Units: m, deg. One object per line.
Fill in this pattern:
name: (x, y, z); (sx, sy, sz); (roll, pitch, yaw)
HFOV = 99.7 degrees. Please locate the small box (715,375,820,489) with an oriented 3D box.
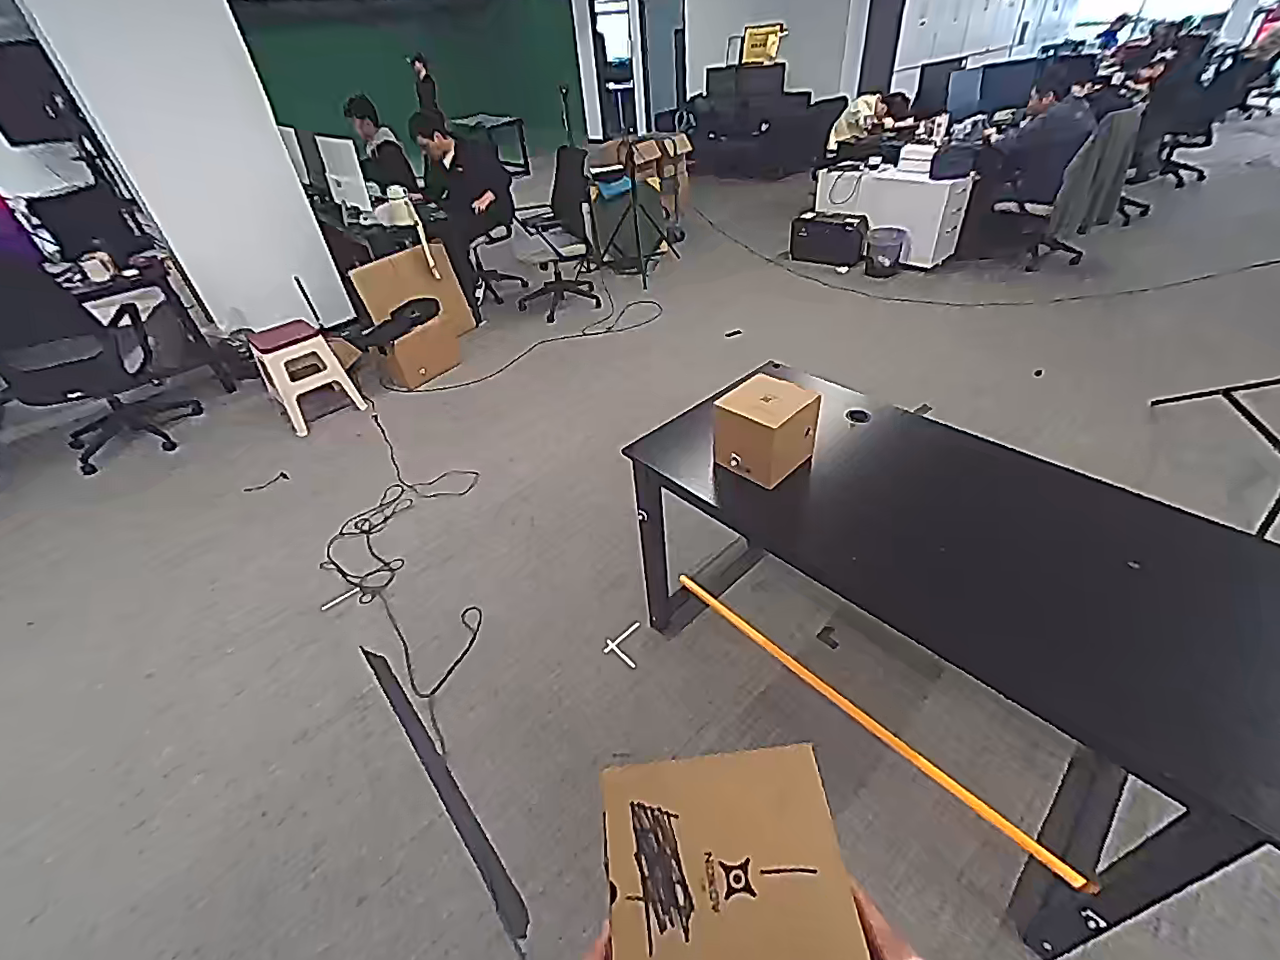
small box: (0.284, -0.111, 1.231); (0.168, 0.176, 0.179); (29, 51, 36)

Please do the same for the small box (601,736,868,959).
small box: (0.065, 0.334, 0.456); (0.179, 0.176, 0.168); (-6, 49, -1)
